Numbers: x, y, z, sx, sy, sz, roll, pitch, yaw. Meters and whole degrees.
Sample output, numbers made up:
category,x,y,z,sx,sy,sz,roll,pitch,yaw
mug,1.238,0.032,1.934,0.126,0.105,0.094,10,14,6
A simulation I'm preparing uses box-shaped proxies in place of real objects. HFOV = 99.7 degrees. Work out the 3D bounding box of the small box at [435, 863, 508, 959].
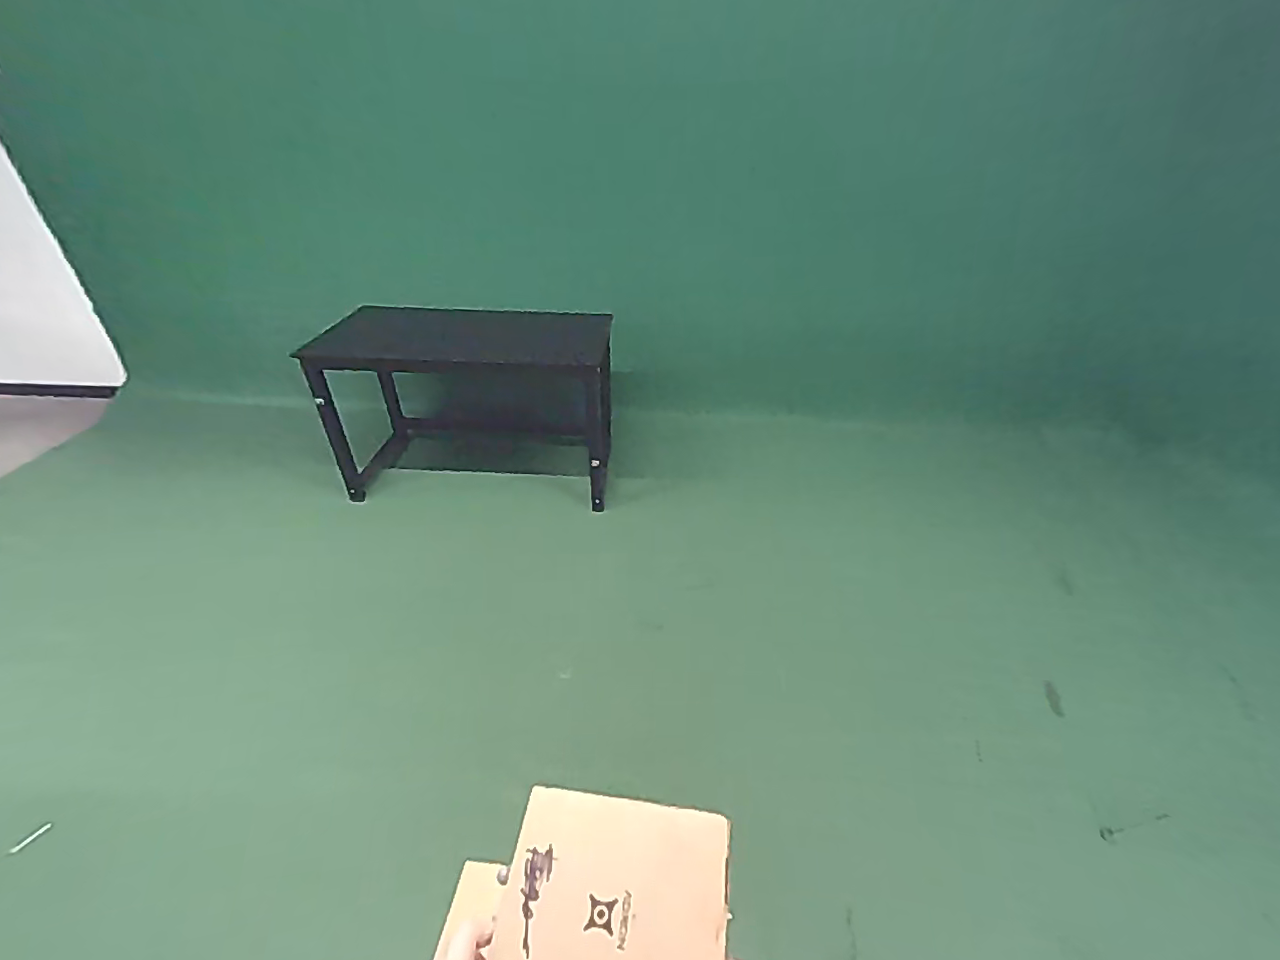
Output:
category,x,y,z,sx,sy,sz,roll,pitch,yaw
small box,-0.228,0.777,0.891,0.168,0.176,0.179,4,34,4

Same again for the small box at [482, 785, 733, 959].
category,x,y,z,sx,sy,sz,roll,pitch,yaw
small box,-0.022,0.386,0.453,0.179,0.176,0.168,6,42,7
